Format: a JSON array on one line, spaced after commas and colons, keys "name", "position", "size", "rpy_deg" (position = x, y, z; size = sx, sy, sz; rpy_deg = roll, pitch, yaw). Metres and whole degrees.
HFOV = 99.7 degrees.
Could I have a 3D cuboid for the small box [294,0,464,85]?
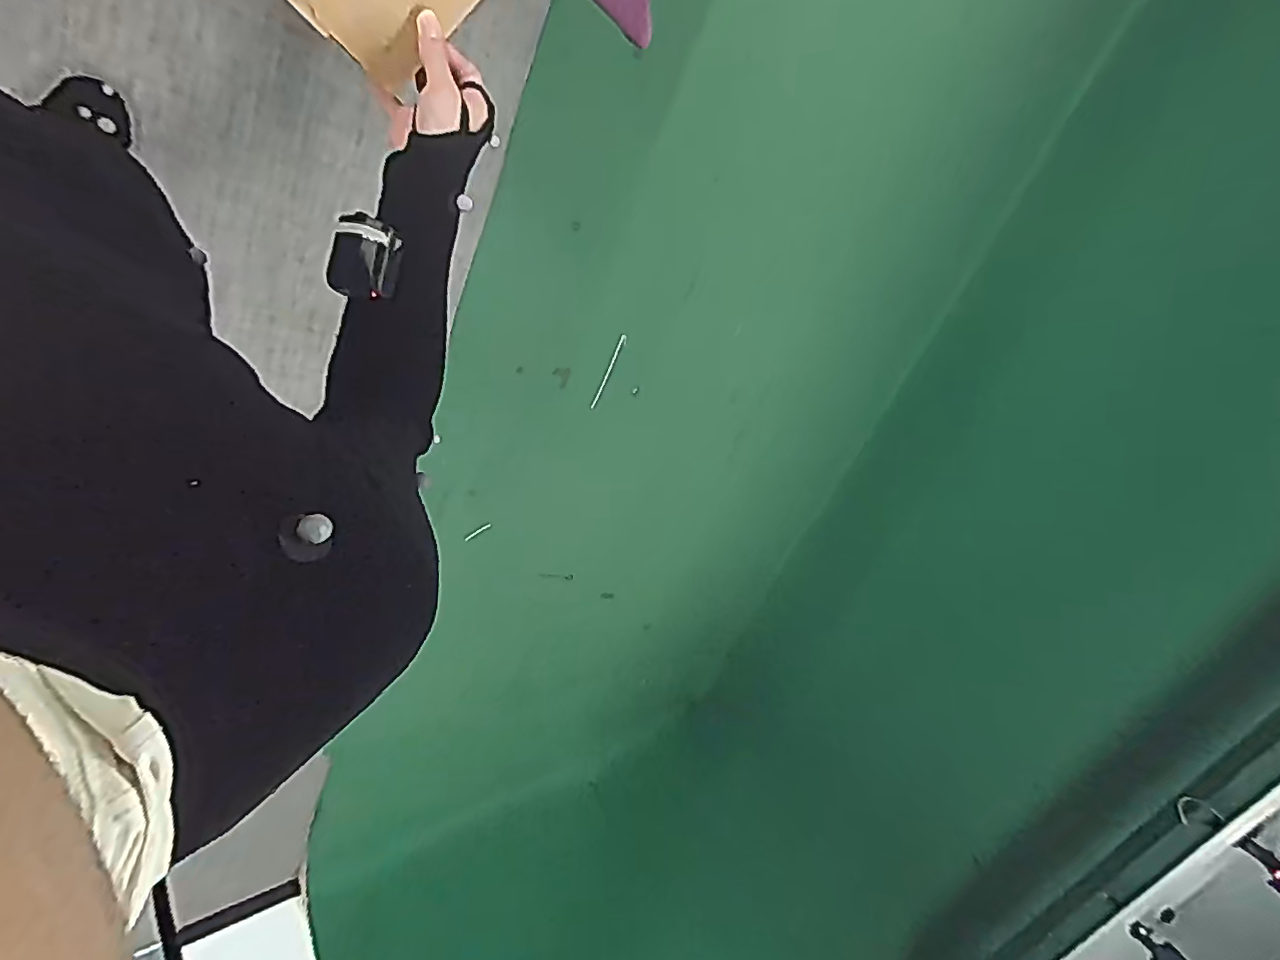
[{"name": "small box", "position": [-0.235, -0.488, 0.440], "size": [0.179, 0.176, 0.168], "rpy_deg": [-35, 150, 15]}]
